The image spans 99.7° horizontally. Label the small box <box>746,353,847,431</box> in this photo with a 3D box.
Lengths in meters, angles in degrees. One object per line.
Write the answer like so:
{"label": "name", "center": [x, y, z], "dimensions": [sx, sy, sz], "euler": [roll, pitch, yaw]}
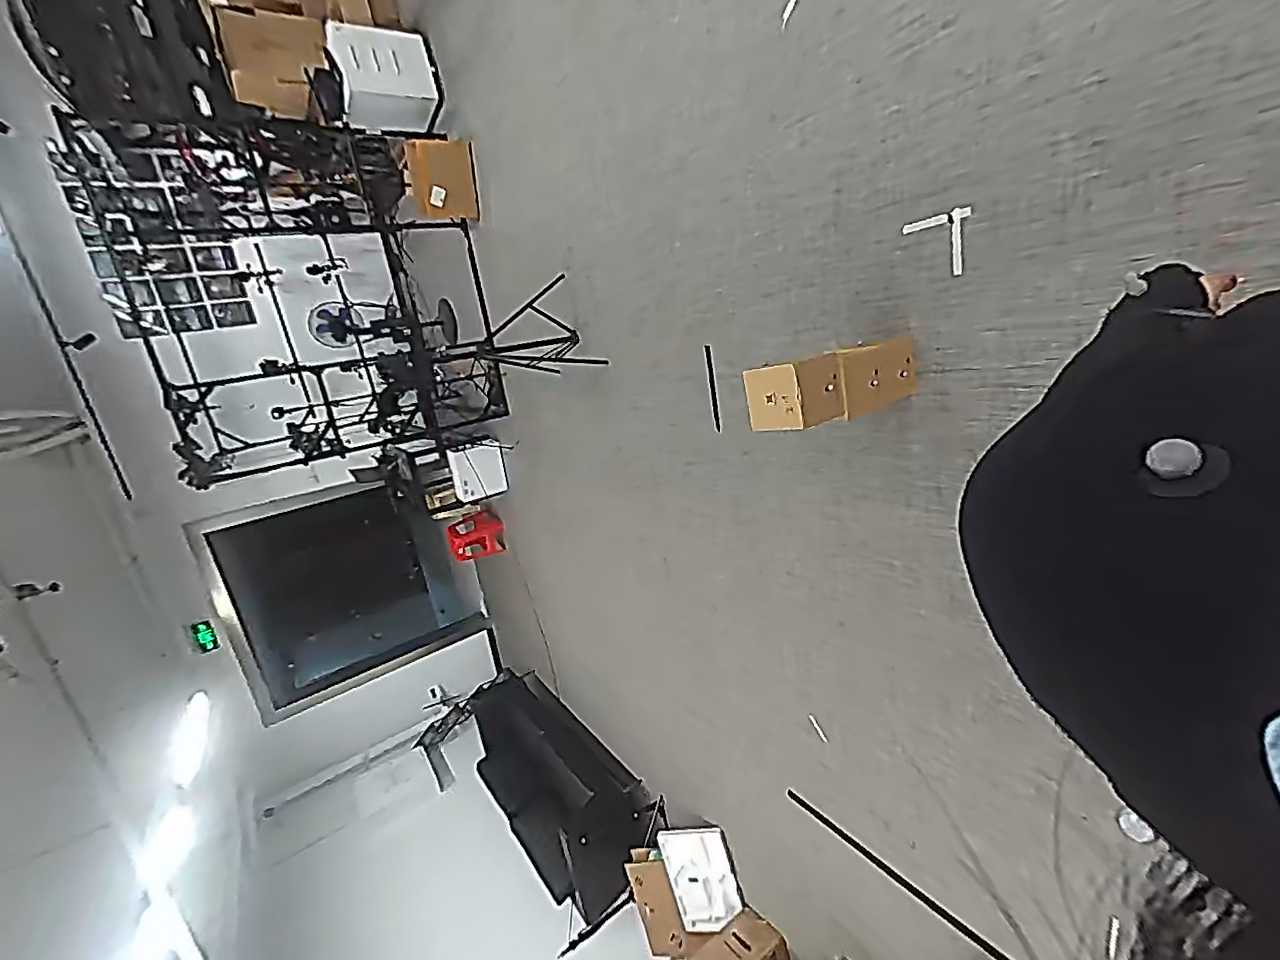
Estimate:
{"label": "small box", "center": [0.405, -0.226, 1.403], "dimensions": [0.179, 0.176, 0.168], "euler": [5, 110, 55]}

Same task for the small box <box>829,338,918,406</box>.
{"label": "small box", "center": [0.676, -0.312, 1.570], "dimensions": [0.179, 0.176, 0.168], "euler": [11, 115, 55]}
